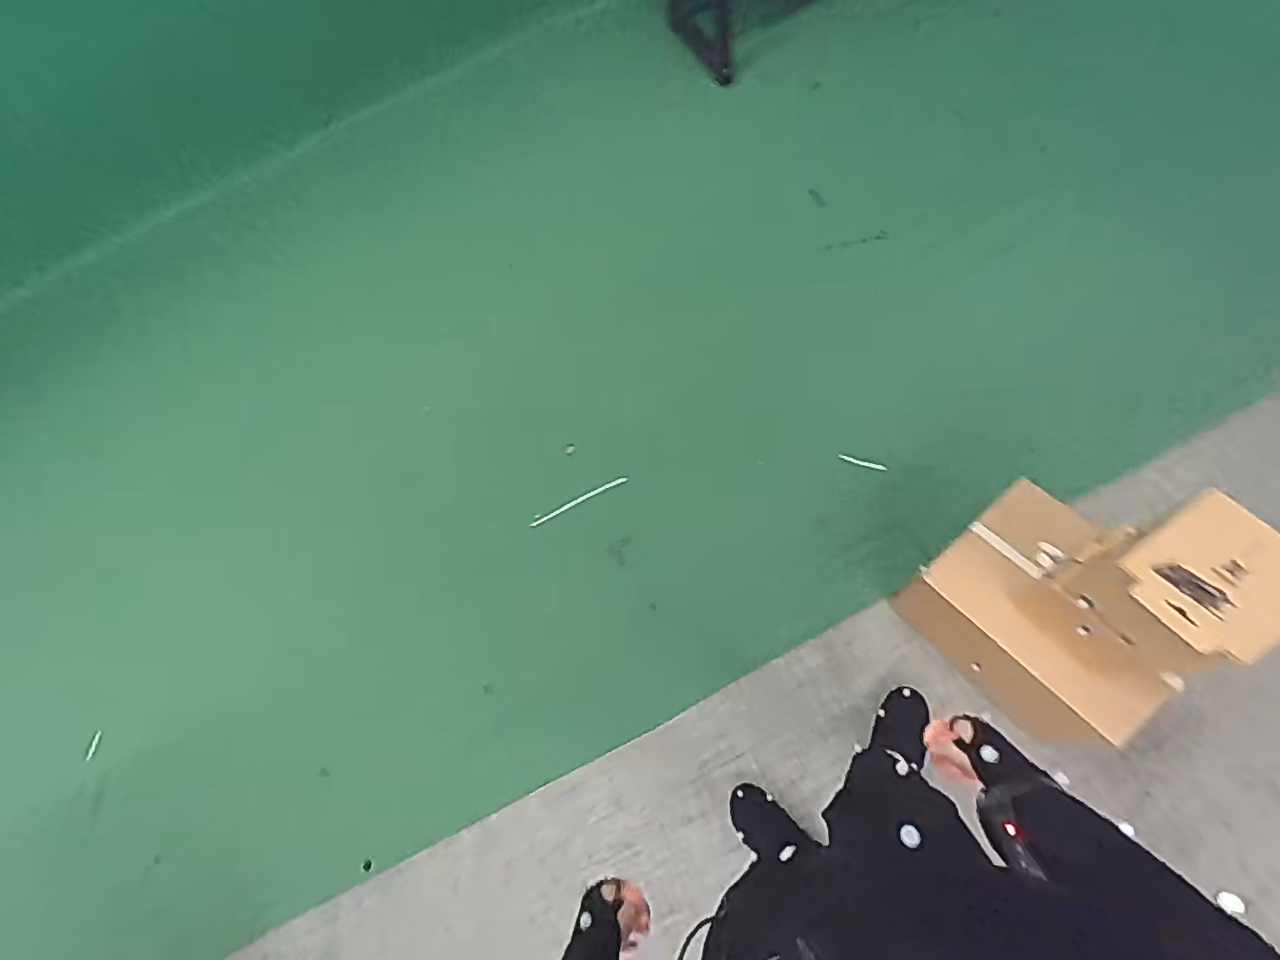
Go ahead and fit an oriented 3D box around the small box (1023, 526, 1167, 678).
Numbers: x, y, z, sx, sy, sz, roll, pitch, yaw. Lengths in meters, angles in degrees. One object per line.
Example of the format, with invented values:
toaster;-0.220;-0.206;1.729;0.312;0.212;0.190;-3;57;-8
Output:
small box;0.801;0.213;0.909;0.168;0.176;0.179;-38;64;-4

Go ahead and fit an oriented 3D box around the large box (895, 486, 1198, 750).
large box;0.833;0.294;1.140;0.320;0.320;0.408;-40;63;-8

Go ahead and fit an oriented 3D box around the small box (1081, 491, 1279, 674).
small box;0.776;0.152;0.759;0.179;0.176;0.168;-36;64;-3
